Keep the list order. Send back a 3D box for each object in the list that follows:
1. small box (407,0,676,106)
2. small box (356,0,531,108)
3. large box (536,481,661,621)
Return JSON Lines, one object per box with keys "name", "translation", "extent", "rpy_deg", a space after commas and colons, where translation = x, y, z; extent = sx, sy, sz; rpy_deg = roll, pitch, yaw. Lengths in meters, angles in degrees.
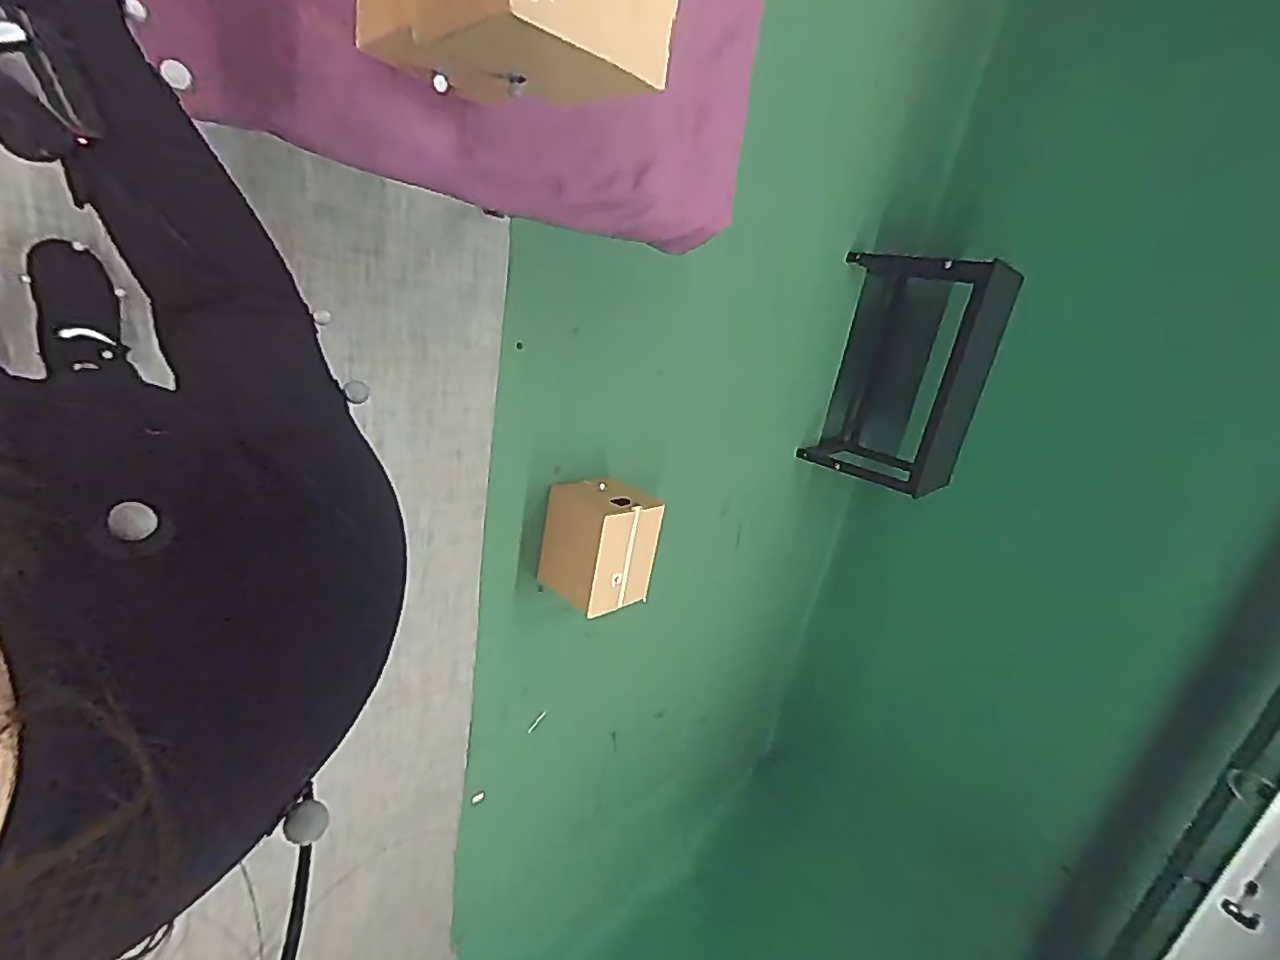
{"name": "small box", "translation": [-0.082, -0.454, 0.478], "extent": [0.179, 0.176, 0.168], "rpy_deg": [-12, 118, -45]}
{"name": "small box", "translation": [-0.188, -0.533, 0.578], "extent": [0.168, 0.176, 0.179], "rpy_deg": [-8, 115, -46]}
{"name": "large box", "translation": [-0.166, 0.251, 2.055], "extent": [0.320, 0.320, 0.408], "rpy_deg": [-7, 115, -46]}
